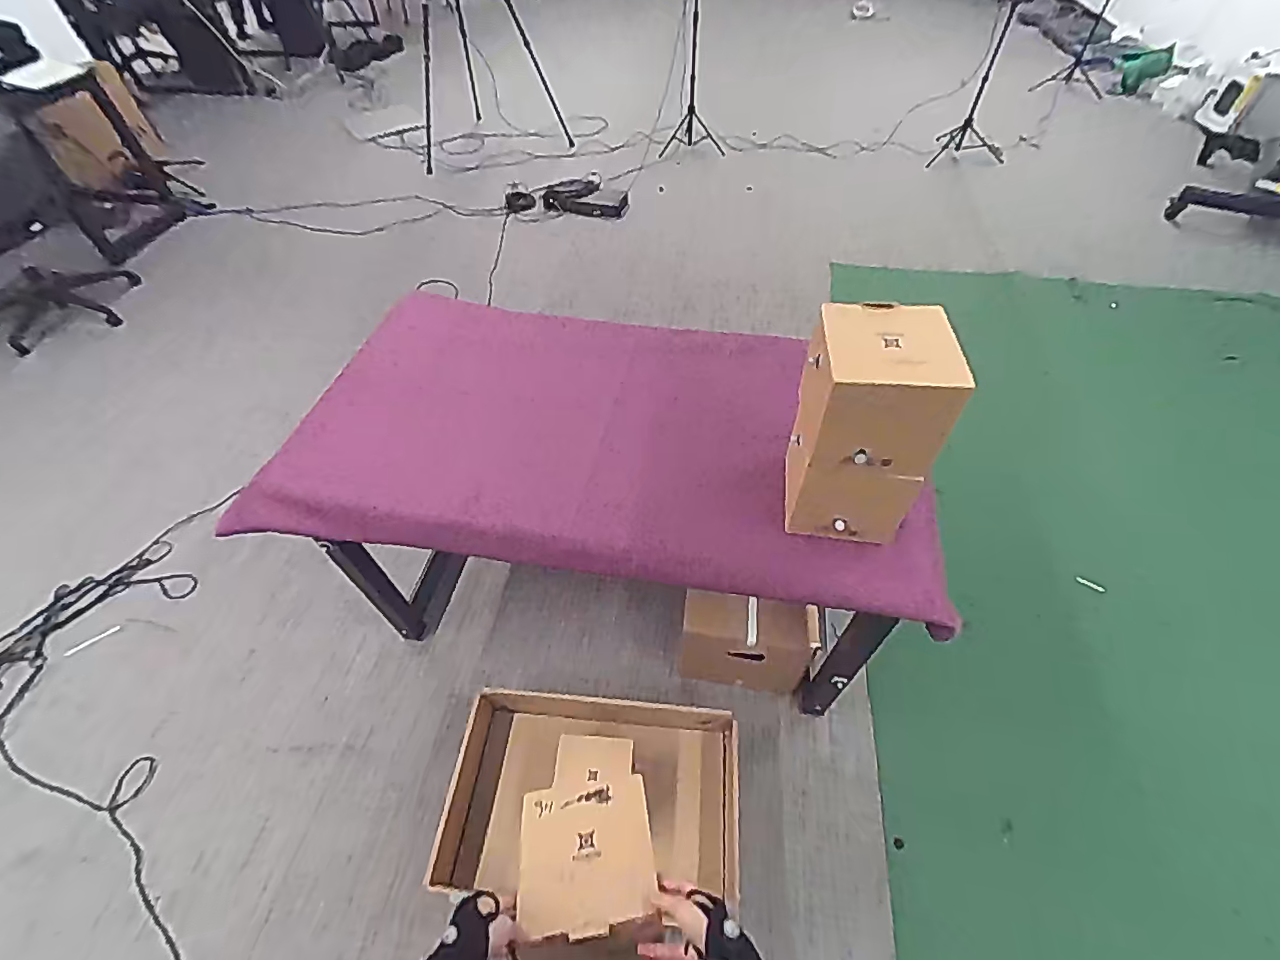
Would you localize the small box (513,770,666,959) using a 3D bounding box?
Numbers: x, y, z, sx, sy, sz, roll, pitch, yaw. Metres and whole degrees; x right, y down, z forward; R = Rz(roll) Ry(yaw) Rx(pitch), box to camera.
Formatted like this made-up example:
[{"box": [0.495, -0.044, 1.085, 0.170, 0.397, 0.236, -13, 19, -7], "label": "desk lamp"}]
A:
[{"box": [-0.062, 0.519, 0.699, 0.168, 0.176, 0.179, -6, 27, -5], "label": "small box"}]

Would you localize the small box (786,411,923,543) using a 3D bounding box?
[{"box": [0.336, -0.023, 0.885, 0.168, 0.176, 0.179, 6, 51, 8], "label": "small box"}]

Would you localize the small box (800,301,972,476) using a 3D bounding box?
[{"box": [0.326, -0.129, 0.762, 0.168, 0.176, 0.179, 4, 50, 7], "label": "small box"}]

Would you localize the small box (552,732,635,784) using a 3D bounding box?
[{"box": [-0.100, 0.679, 1.198, 0.168, 0.176, 0.179, 3, 52, 4], "label": "small box"}]
